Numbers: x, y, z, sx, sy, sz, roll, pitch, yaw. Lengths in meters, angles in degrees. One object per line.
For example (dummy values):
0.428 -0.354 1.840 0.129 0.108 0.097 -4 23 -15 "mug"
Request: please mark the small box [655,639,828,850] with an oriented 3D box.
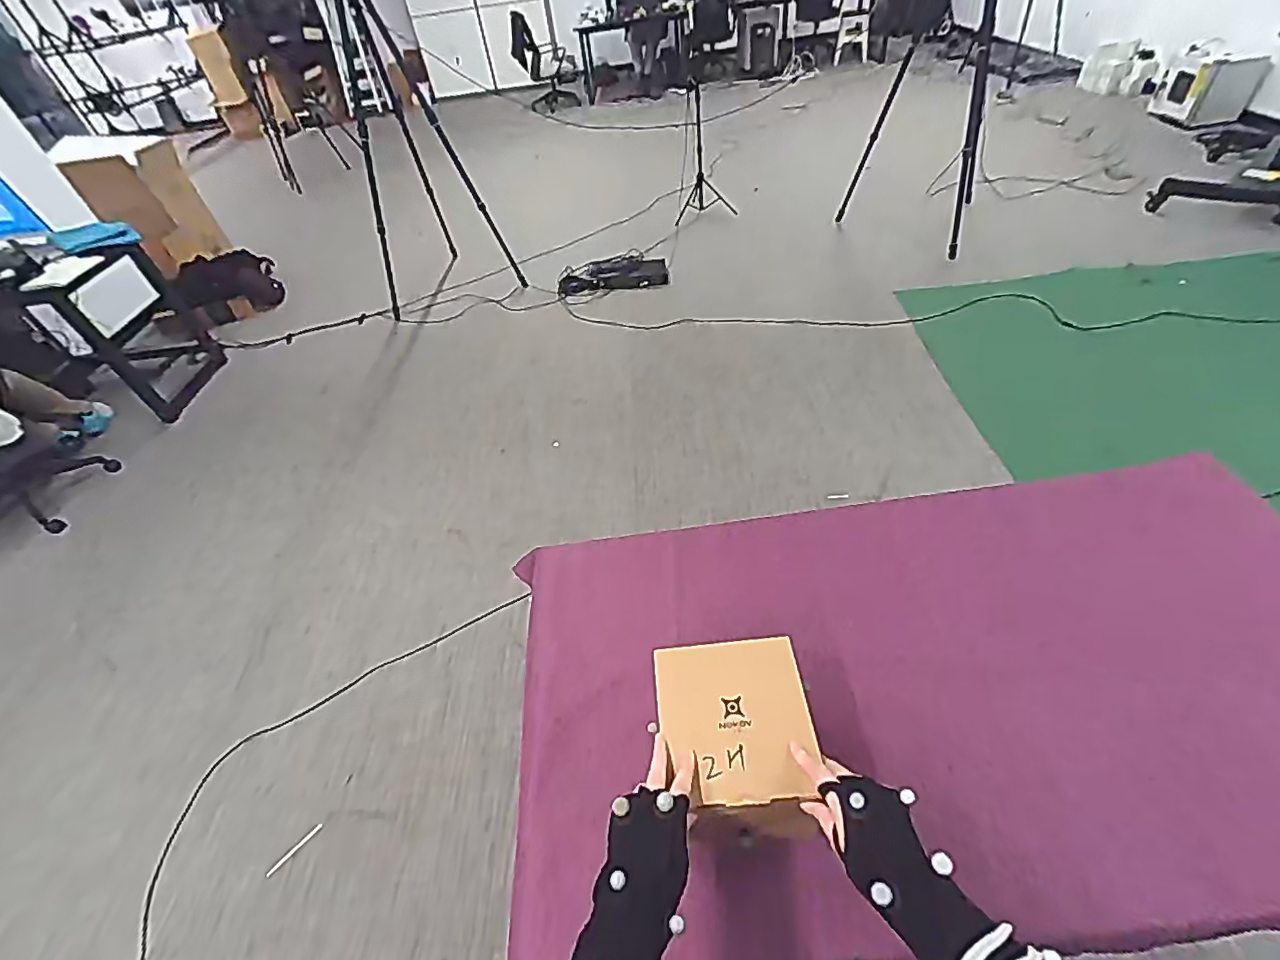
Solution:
0.110 0.316 0.647 0.168 0.176 0.179 -7 45 3 "small box"
